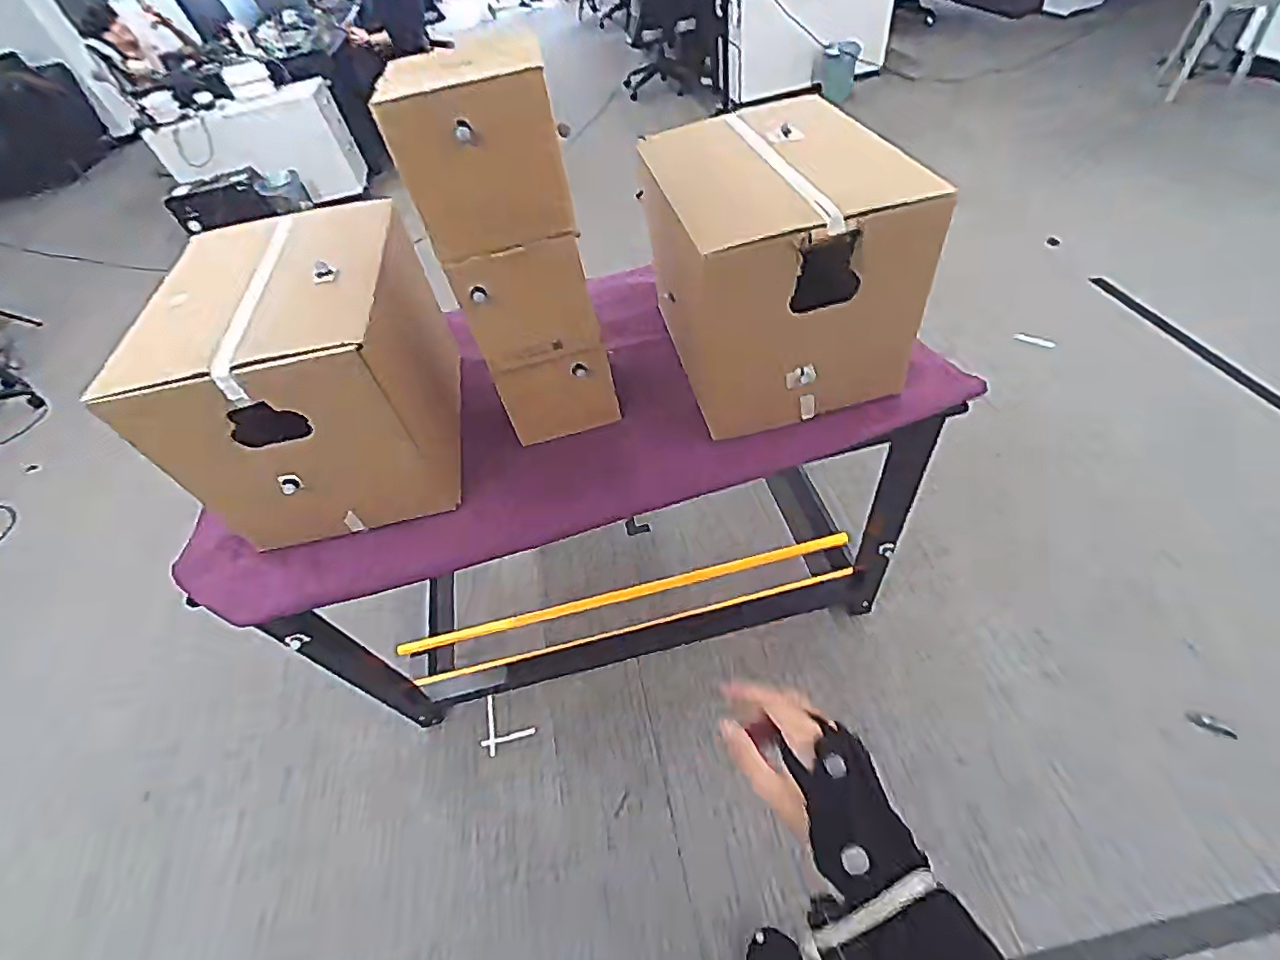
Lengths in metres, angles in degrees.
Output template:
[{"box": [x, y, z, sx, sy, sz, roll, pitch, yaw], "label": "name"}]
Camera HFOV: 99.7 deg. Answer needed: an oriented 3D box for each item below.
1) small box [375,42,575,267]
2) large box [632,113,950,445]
[{"box": [-0.180, -0.383, 0.644, 0.179, 0.176, 0.168, -14, 49, 0], "label": "small box"}, {"box": [0.200, -0.325, 0.865, 0.320, 0.320, 0.408, -14, 48, -2], "label": "large box"}]
